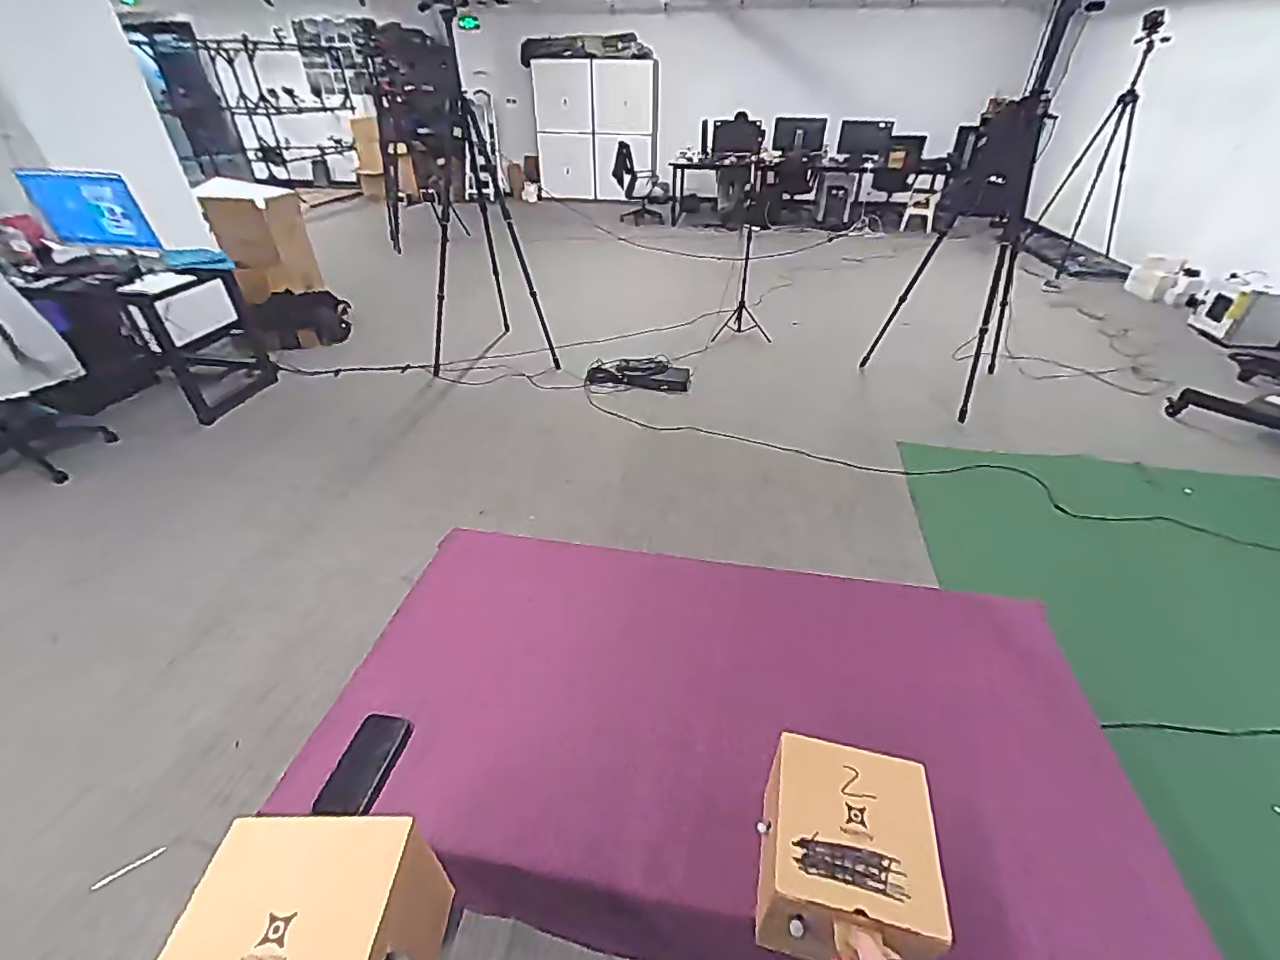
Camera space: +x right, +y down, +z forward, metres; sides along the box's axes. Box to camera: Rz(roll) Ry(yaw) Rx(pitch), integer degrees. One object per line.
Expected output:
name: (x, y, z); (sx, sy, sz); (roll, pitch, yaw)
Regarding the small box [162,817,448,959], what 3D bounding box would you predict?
small box: (-0.280, 0.423, 0.466); (0.168, 0.176, 0.179); (0, 36, 1)
